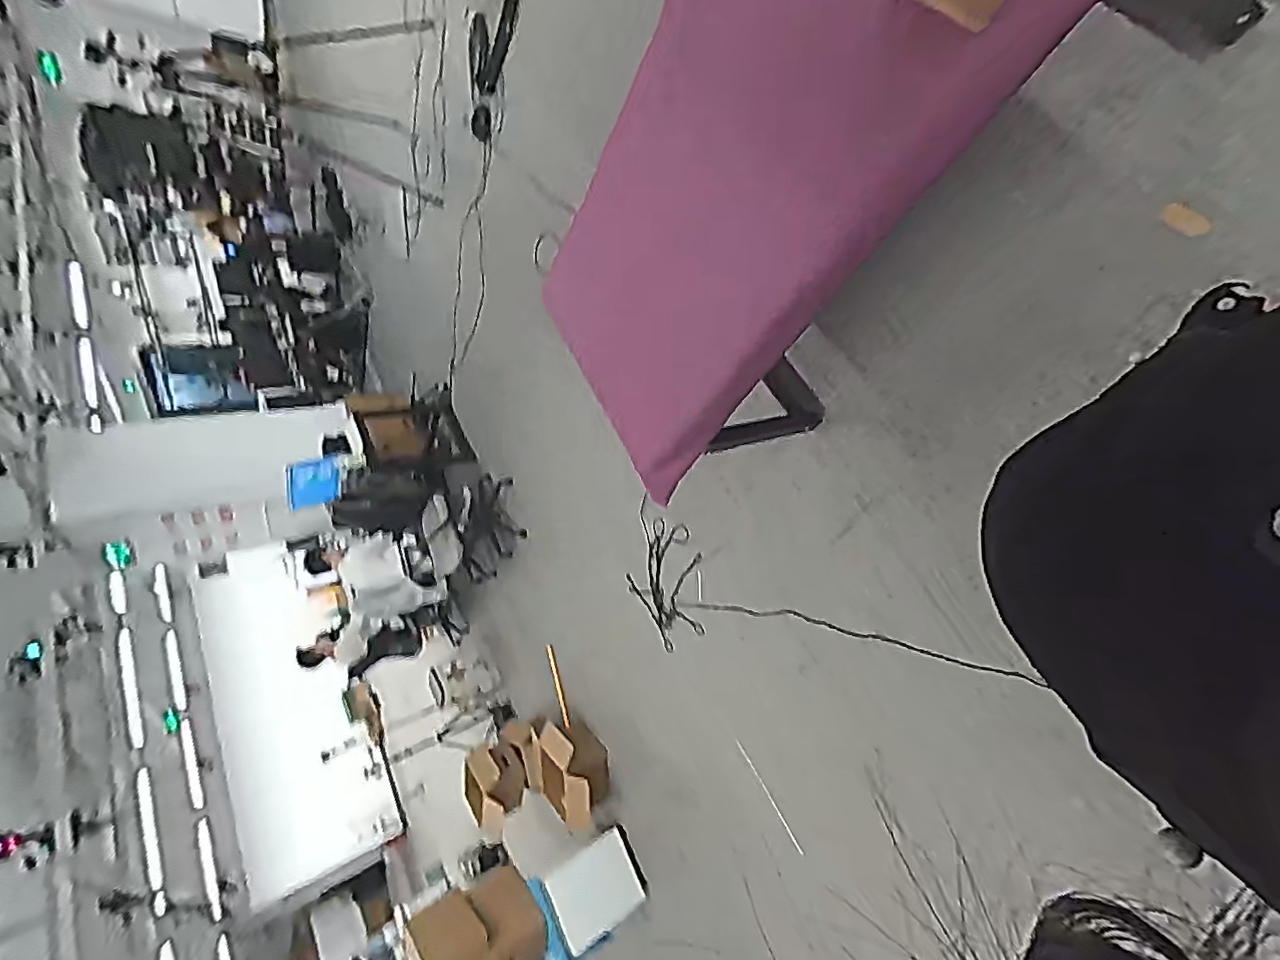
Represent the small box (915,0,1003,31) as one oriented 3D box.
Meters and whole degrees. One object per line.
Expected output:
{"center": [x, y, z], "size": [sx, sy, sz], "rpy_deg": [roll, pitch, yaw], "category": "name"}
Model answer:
{"center": [0.346, -0.641, 0.584], "size": [0.168, 0.176, 0.179], "rpy_deg": [57, 140, 25], "category": "small box"}
